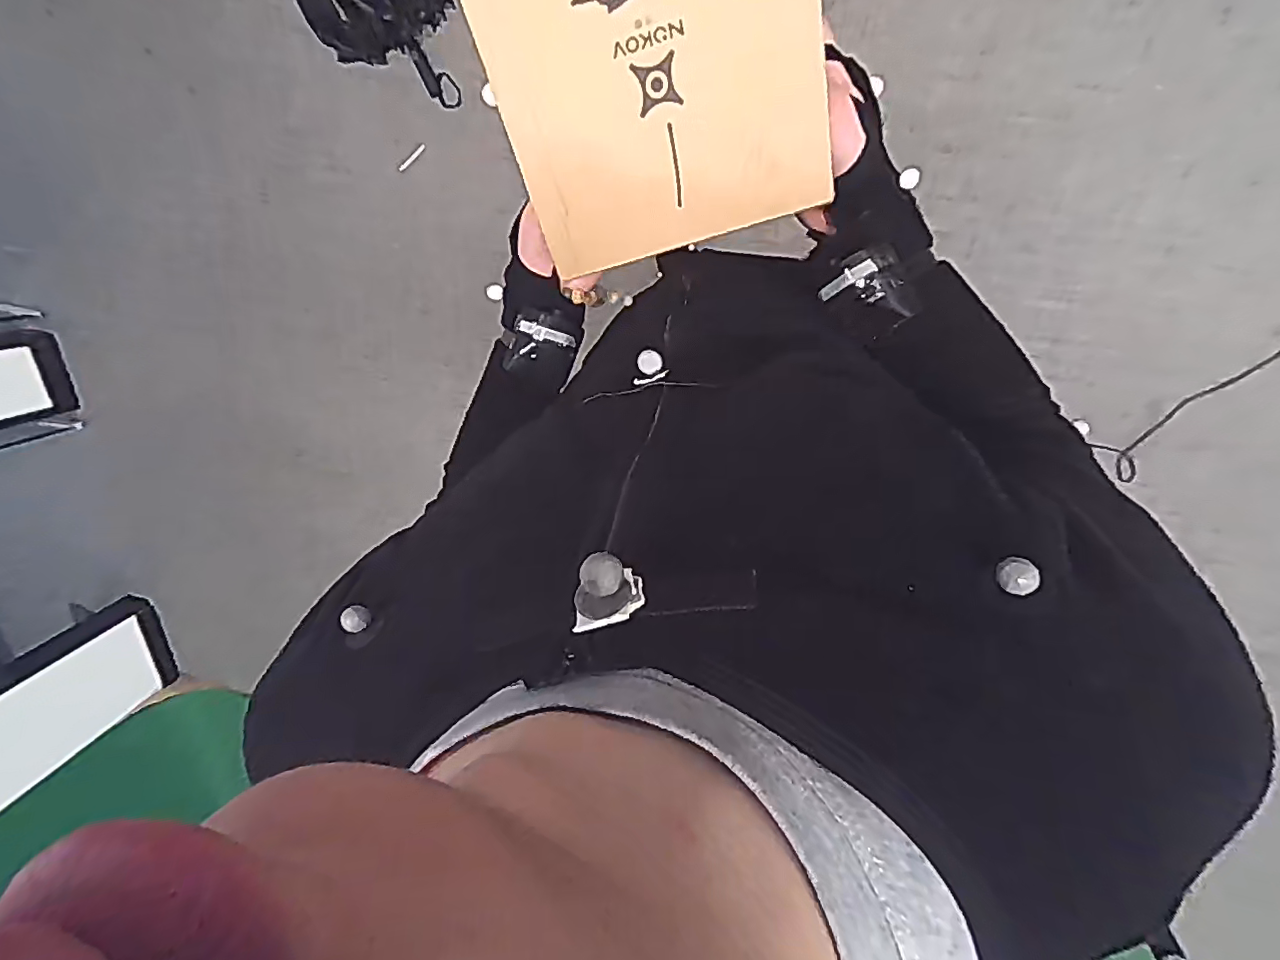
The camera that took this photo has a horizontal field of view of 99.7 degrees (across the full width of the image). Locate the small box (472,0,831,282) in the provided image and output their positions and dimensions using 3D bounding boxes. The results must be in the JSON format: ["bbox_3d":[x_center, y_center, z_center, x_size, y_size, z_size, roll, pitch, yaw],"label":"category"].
[{"bbox_3d":[0.007,-0.251,0.341,0.168,0.176,0.179,-14,123,7],"label":"small box"}]
